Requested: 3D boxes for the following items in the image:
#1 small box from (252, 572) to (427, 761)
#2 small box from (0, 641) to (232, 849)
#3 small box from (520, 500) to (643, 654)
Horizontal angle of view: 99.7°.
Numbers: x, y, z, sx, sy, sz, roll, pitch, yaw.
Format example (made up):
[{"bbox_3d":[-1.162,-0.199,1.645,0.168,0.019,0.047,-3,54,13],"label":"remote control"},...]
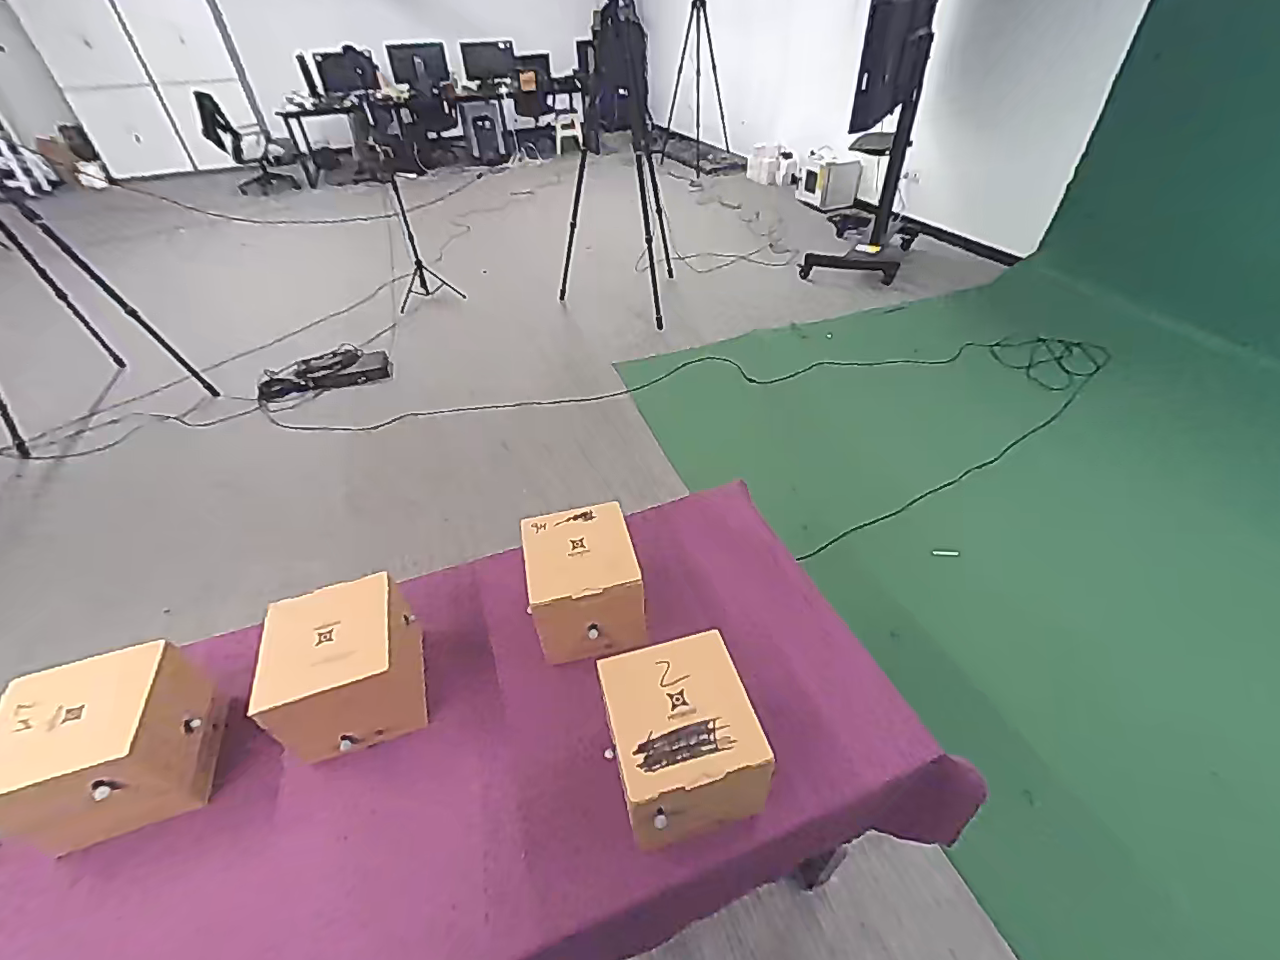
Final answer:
[{"bbox_3d":[-0.422,0.270,0.791,0.168,0.176,0.179,-16,44,-12],"label":"small box"},{"bbox_3d":[-0.689,0.349,0.717,0.179,0.176,0.168,-15,43,-13],"label":"small box"},{"bbox_3d":[-0.094,0.164,0.884,0.168,0.176,0.179,-11,43,-9],"label":"small box"}]
